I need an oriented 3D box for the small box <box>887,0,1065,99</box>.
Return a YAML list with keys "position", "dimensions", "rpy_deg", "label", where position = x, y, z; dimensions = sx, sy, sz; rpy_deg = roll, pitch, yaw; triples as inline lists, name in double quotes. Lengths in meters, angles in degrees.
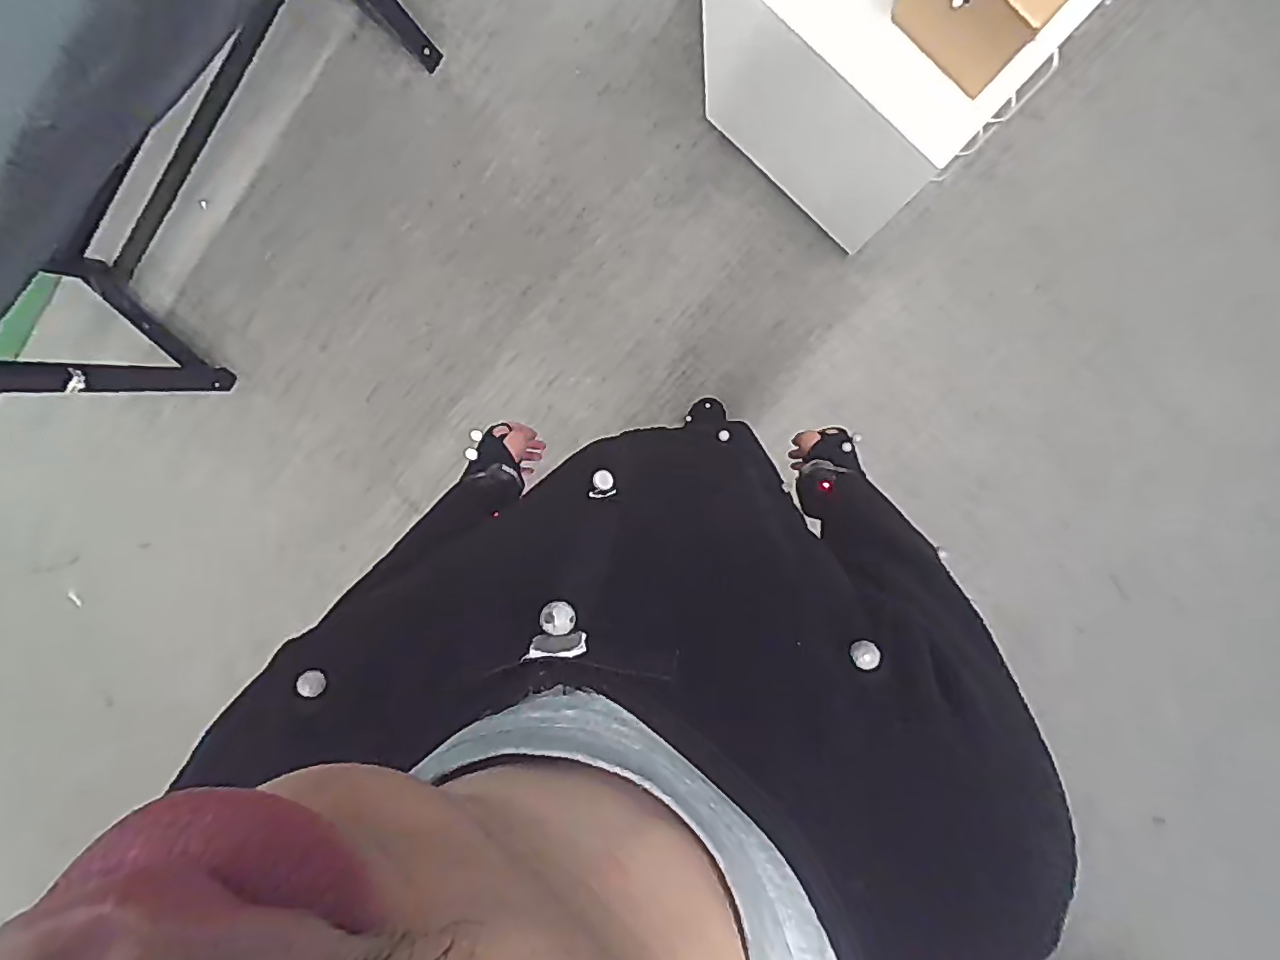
- position: [0.467, -0.661, 0.713]
  dimensions: [0.179, 0.176, 0.168]
  rpy_deg: [42, 100, -2]
  label: "small box"
